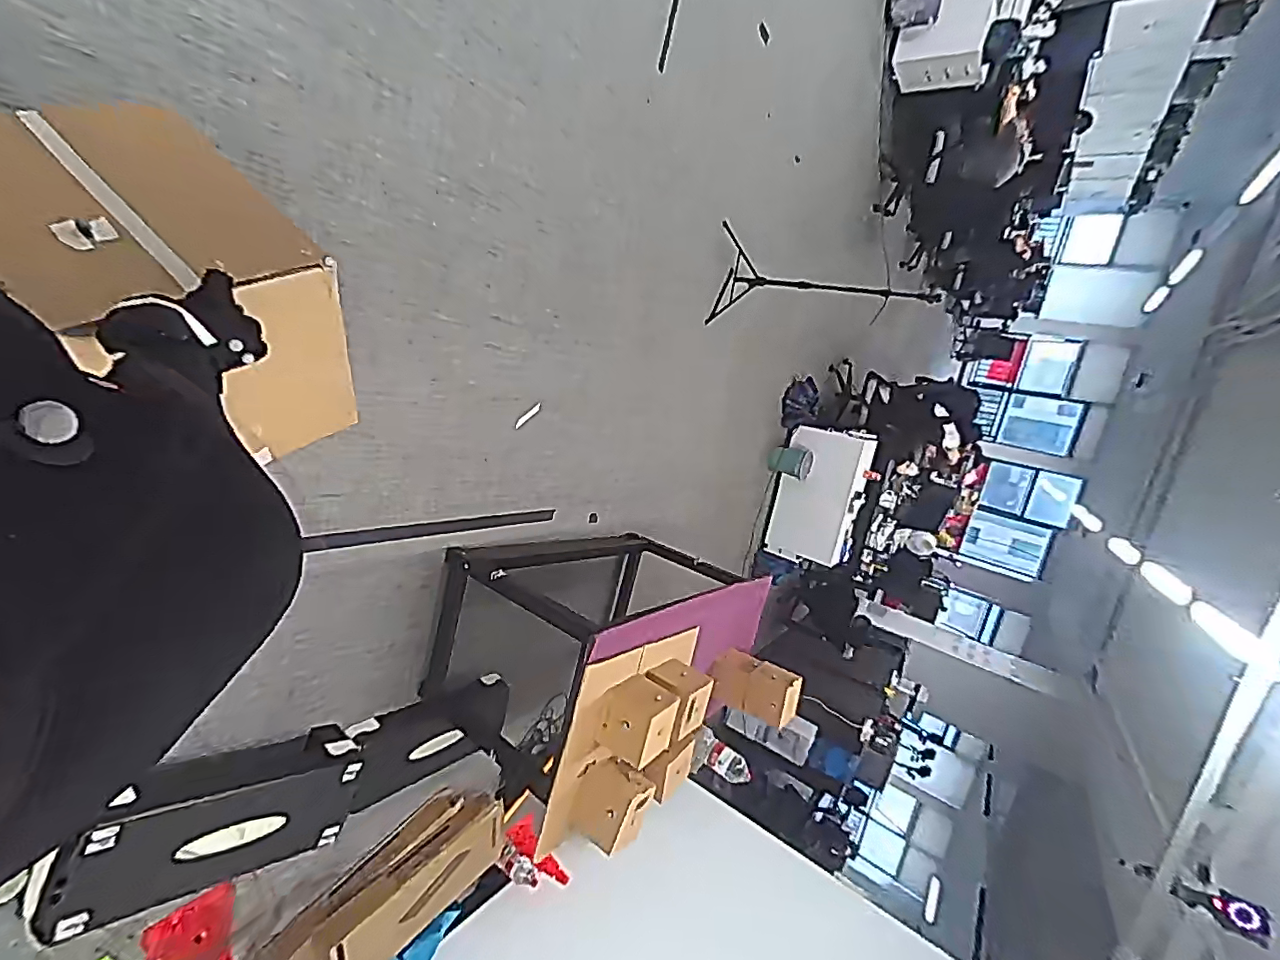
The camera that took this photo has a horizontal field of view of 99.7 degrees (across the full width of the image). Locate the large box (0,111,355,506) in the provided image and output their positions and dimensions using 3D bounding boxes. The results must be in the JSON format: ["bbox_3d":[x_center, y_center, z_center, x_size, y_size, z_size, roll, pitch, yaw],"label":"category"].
[{"bbox_3d":[-0.677,-0.245,0.765,0.320,0.408,0.320,-39,166,-37],"label":"large box"}]
